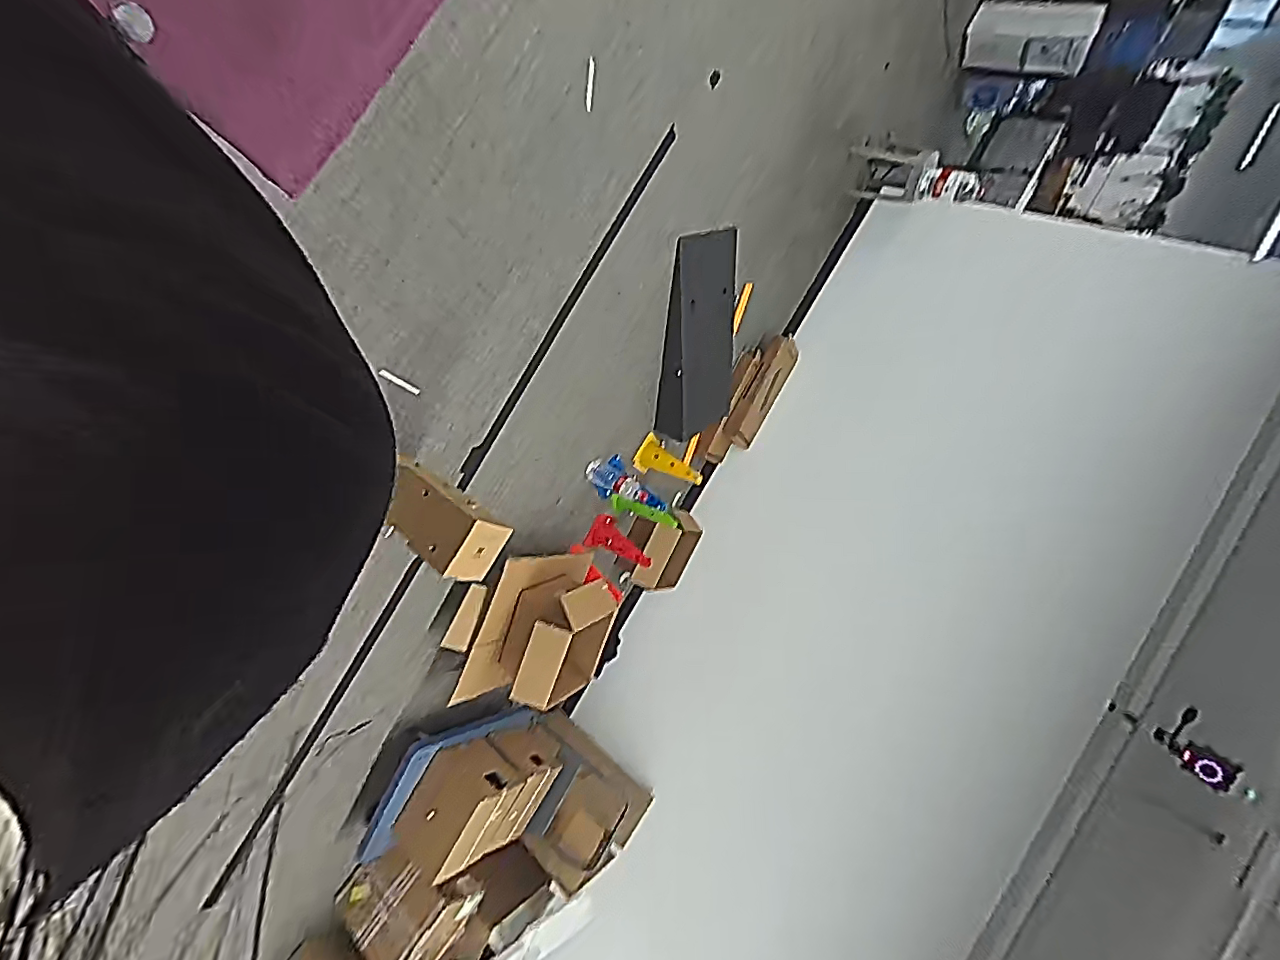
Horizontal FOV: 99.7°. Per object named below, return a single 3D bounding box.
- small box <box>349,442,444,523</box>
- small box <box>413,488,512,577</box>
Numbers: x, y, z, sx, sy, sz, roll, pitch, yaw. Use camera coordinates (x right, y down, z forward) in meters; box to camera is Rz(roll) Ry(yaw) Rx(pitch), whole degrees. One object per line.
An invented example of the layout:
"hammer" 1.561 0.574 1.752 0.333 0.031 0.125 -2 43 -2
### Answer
"small box" -0.753 0.006 1.667 0.179 0.176 0.168 -58 153 -2
"small box" -0.501 0.149 1.515 0.179 0.176 0.168 -60 155 -1
